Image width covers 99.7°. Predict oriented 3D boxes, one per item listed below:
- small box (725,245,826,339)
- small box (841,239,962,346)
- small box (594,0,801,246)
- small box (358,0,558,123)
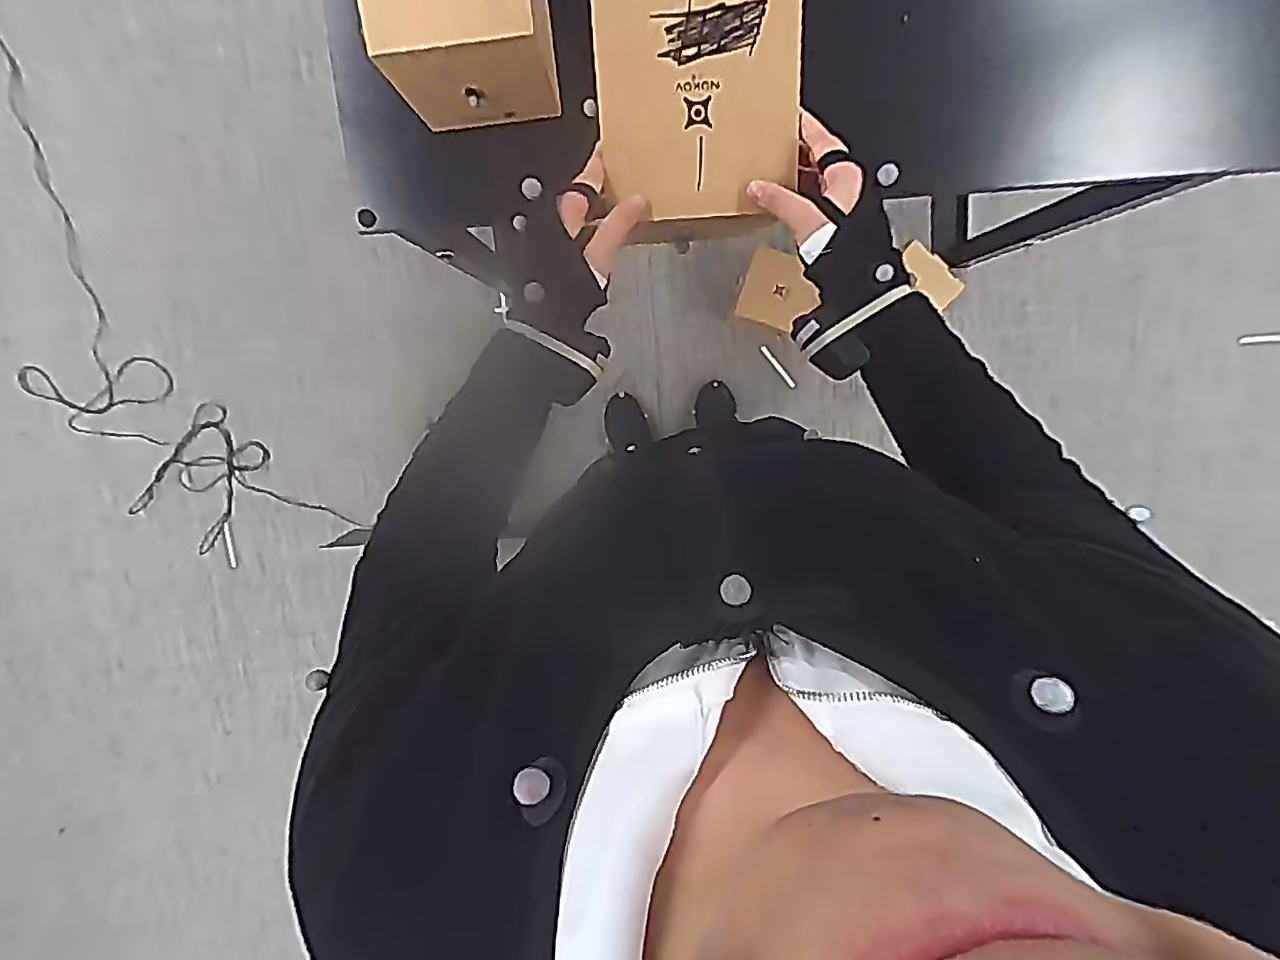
[{"bbox_3d":[0.324,-0.454,1.333,0.179,0.176,0.168,17,100,-1],"label":"small box"},{"bbox_3d":[0.628,-0.450,1.325,0.168,0.176,0.179,39,99,-6],"label":"small box"},{"bbox_3d":[0.045,-0.331,0.514,0.168,0.176,0.179,-4,108,0],"label":"small box"},{"bbox_3d":[-0.190,-0.516,0.585,0.168,0.176,0.179,-6,100,1],"label":"small box"}]
